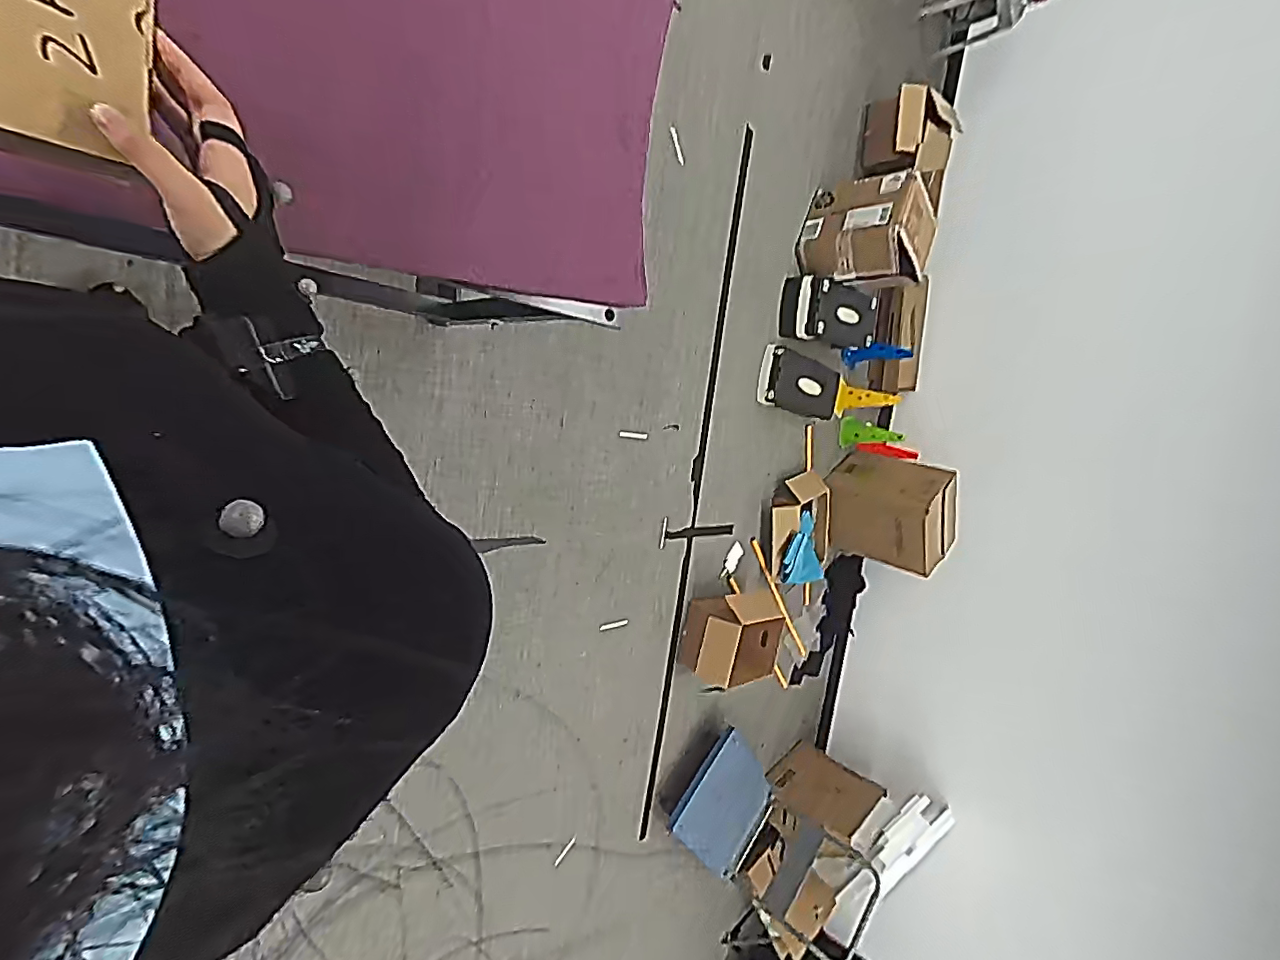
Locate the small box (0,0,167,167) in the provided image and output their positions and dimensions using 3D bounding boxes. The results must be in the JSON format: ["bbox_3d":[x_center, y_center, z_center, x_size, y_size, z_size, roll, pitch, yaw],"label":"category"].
[{"bbox_3d":[-0.402,-0.300,0.314,0.179,0.176,0.168,-2,111,-48],"label":"small box"}]
